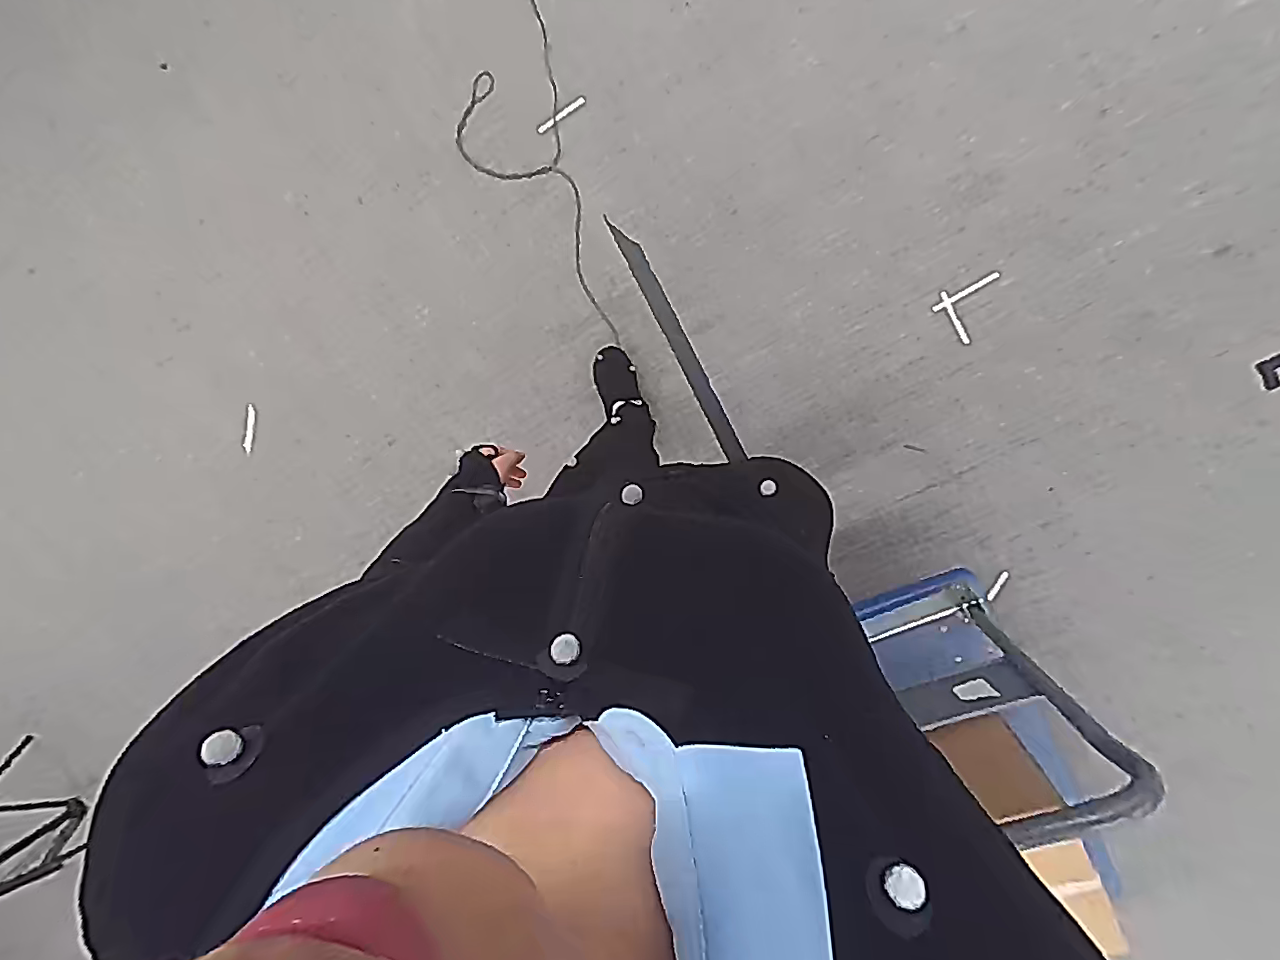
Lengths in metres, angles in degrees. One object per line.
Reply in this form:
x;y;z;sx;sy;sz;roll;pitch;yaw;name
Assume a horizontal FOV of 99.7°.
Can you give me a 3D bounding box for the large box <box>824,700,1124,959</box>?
0.663;0.740;1.155;0.408;0.320;0.320;-25;95;14;large box
